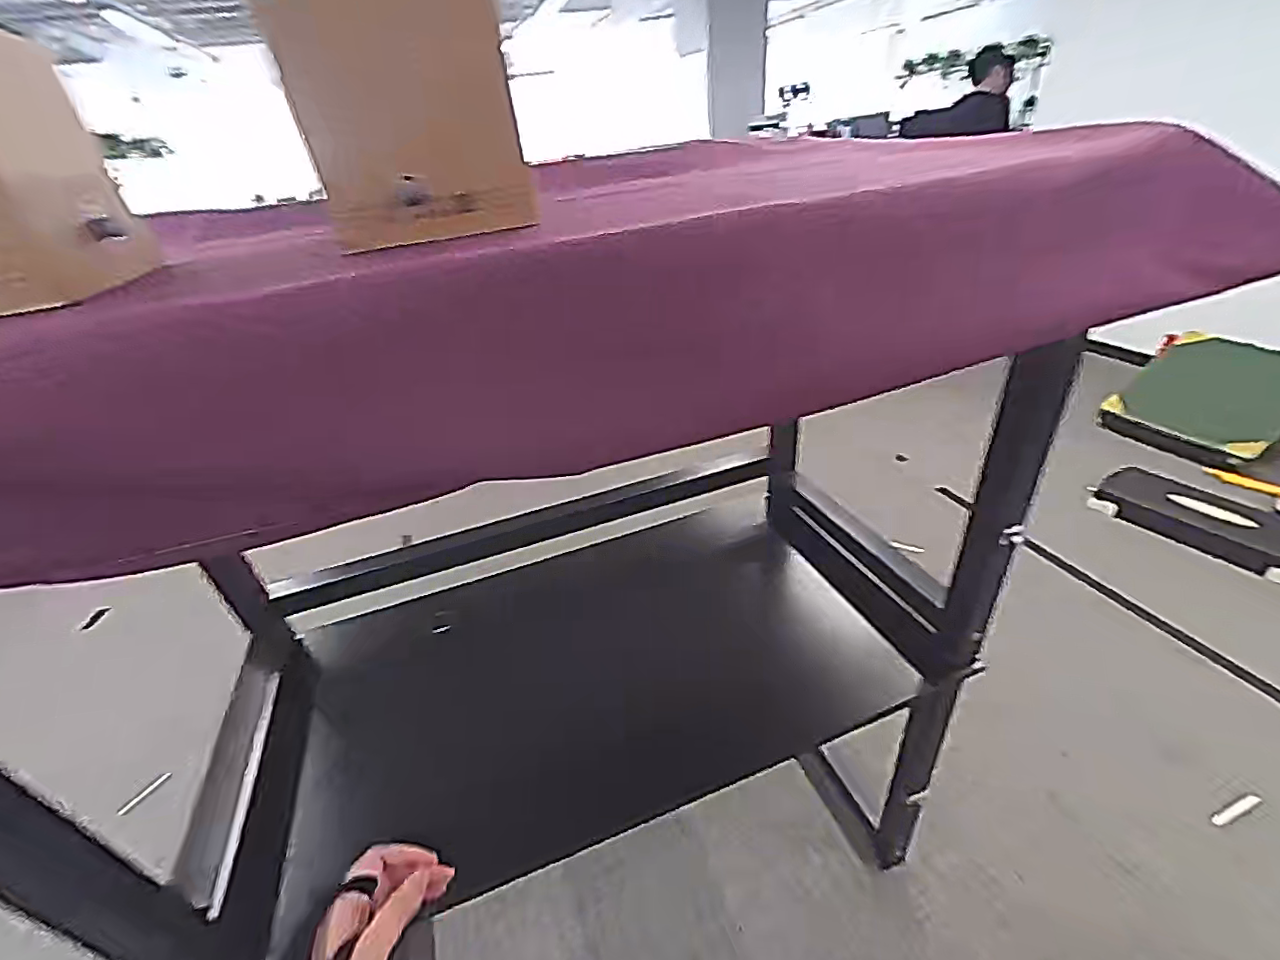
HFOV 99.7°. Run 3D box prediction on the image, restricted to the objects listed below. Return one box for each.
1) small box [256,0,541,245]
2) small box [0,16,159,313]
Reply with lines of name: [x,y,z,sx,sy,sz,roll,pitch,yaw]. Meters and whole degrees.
small box: [-0.194,-0.313,0.475,0.168,0.176,0.179,-16,34,-12]
small box: [-0.486,-0.209,0.369,0.168,0.176,0.179,-17,33,-14]
